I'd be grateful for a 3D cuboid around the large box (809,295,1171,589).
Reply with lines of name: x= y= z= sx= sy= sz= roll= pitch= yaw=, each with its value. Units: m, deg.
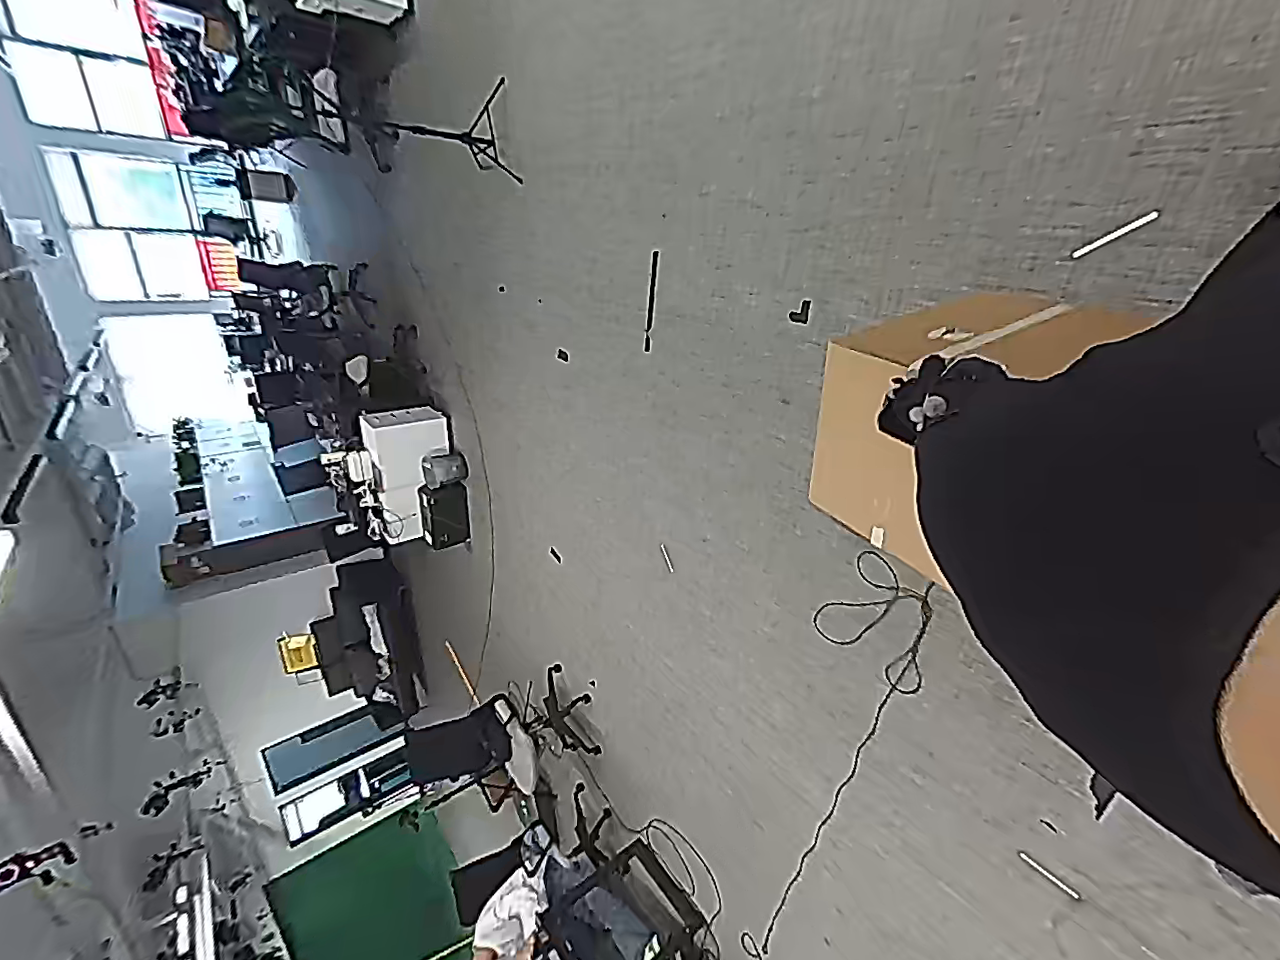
large box: x=0.548 y=-0.089 z=0.904 sx=0.320 sy=0.408 sz=0.320 roll=40 pitch=143 yaw=49
